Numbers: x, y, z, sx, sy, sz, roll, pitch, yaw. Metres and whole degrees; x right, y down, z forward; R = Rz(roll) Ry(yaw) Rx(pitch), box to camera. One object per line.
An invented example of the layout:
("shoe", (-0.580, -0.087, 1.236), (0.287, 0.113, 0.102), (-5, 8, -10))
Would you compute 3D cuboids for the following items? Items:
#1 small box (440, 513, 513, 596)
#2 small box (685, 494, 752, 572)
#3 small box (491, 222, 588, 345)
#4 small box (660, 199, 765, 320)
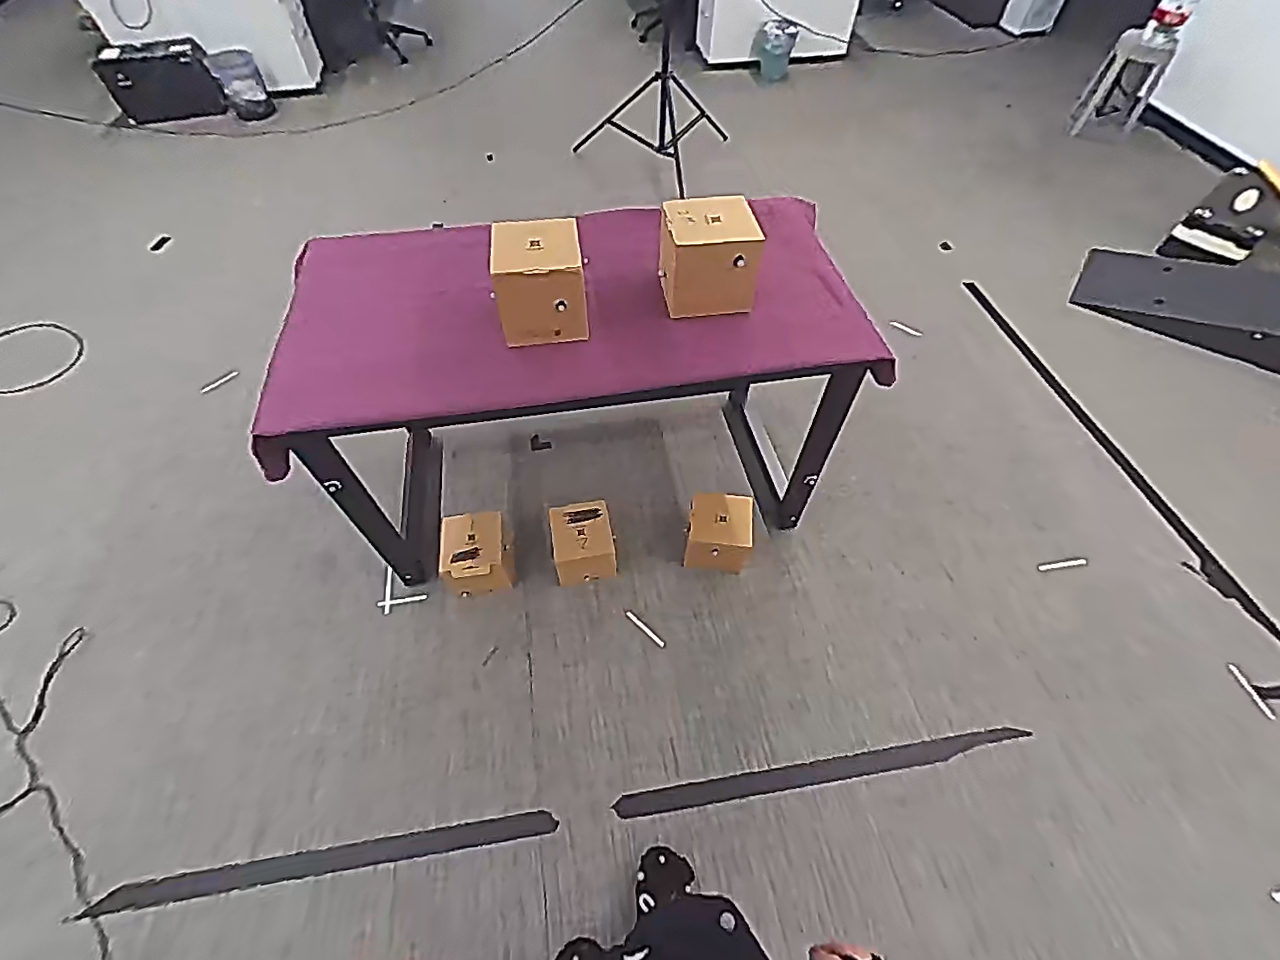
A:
("small box", (-0.459, 0.218, 1.542), (0.168, 0.176, 0.179), (-7, 54, -5))
("small box", (0.229, 0.160, 1.588), (0.179, 0.176, 0.168), (5, 56, 5))
("small box", (-0.196, -0.385, 1.077), (0.168, 0.176, 0.179), (-6, 53, -6))
("small box", (0.142, -0.456, 1.127), (0.179, 0.176, 0.168), (-7, 54, -4))
